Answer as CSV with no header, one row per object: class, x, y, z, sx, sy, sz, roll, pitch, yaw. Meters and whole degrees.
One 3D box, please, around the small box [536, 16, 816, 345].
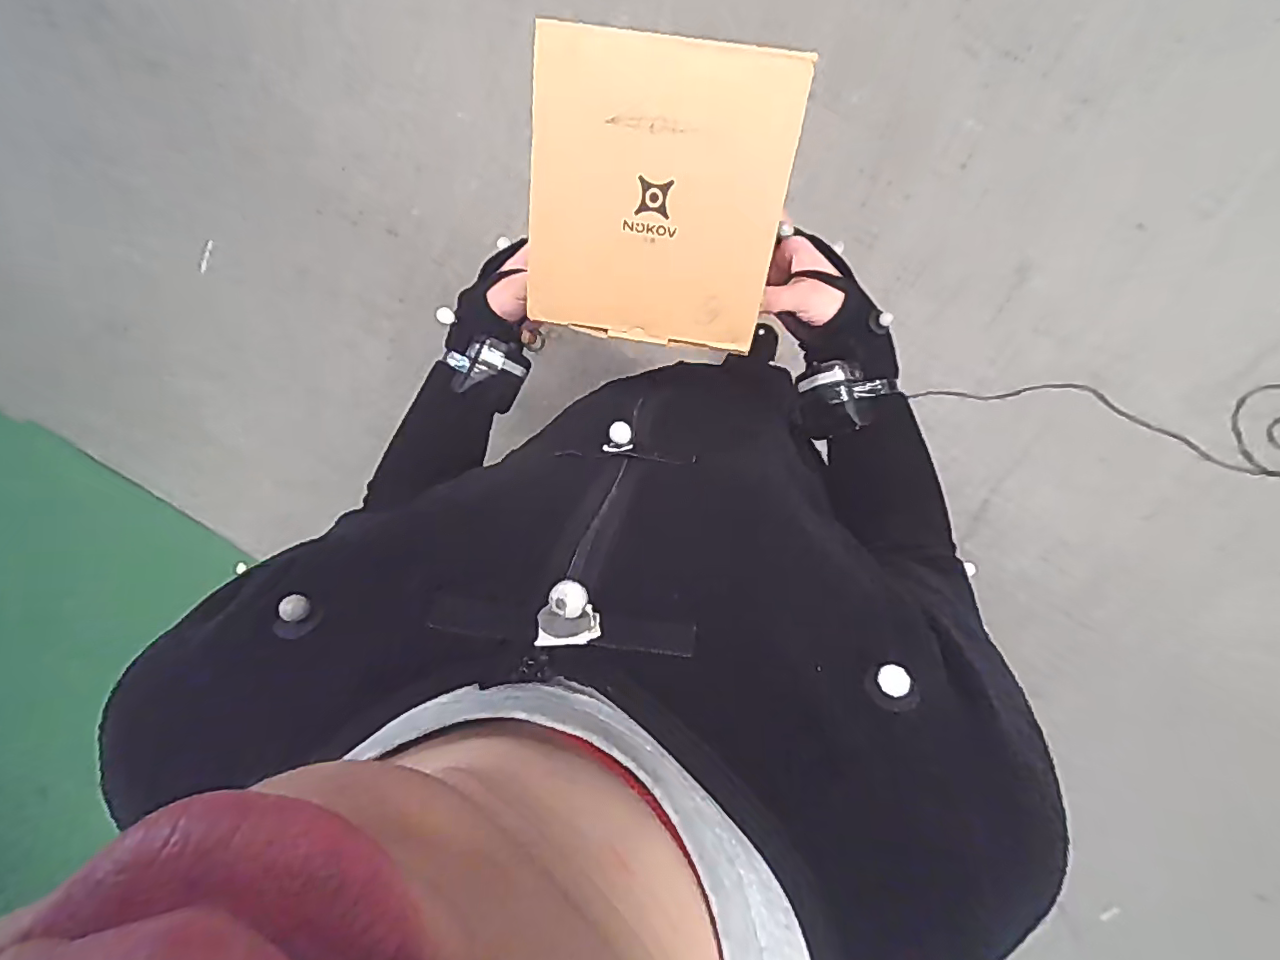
small box,0.022,-0.222,0.425,0.168,0.176,0.179,8,118,2
